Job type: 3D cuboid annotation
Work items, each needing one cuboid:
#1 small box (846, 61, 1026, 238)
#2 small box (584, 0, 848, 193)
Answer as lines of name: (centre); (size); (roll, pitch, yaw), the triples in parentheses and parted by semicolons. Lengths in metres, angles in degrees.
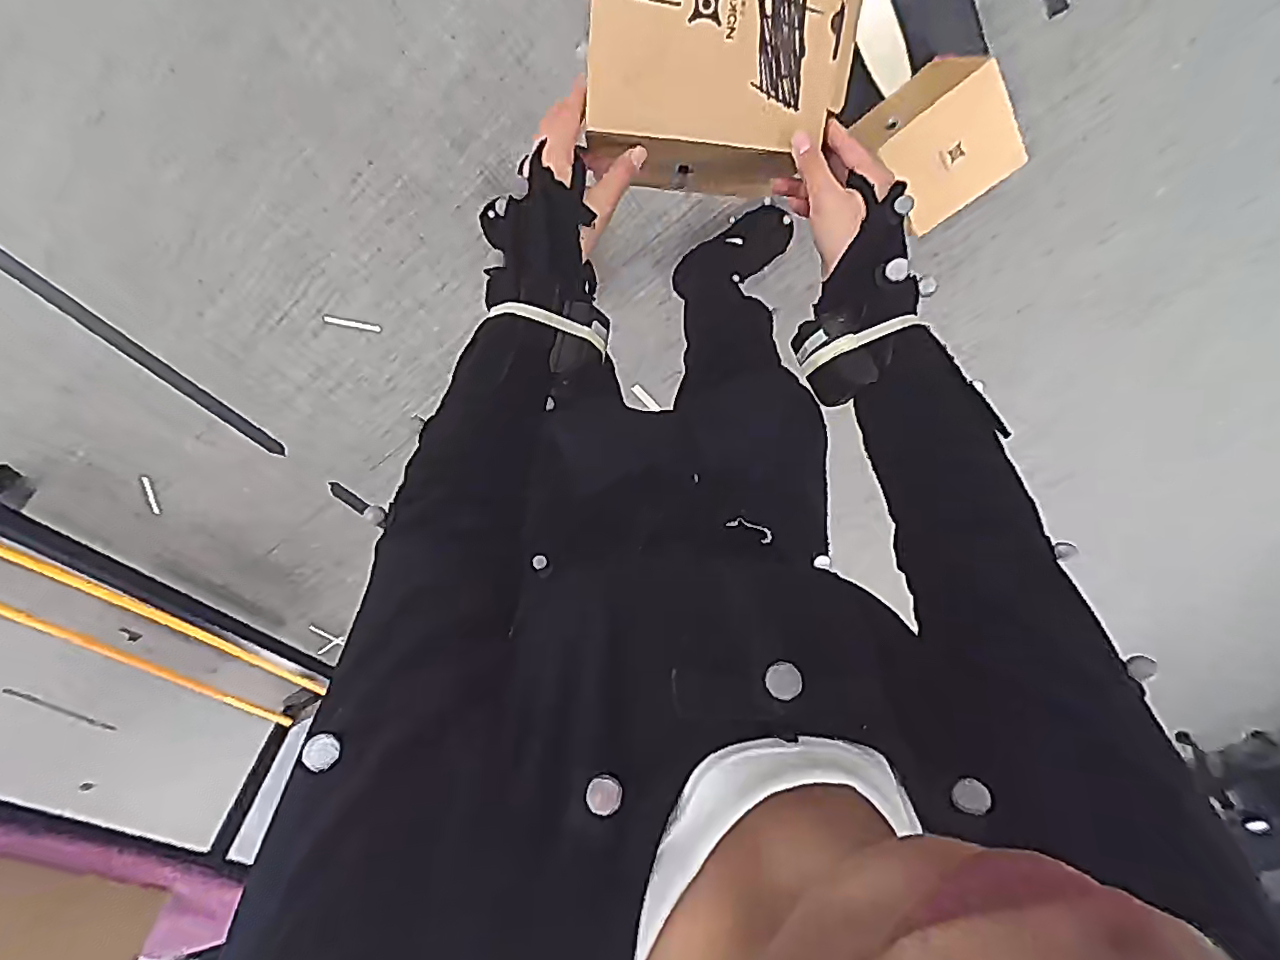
small box: (0.466, -0.534, 0.870); (0.179, 0.176, 0.168); (-33, 123, 23)
small box: (0.050, -0.343, 0.439); (0.179, 0.176, 0.168); (4, 107, -3)
